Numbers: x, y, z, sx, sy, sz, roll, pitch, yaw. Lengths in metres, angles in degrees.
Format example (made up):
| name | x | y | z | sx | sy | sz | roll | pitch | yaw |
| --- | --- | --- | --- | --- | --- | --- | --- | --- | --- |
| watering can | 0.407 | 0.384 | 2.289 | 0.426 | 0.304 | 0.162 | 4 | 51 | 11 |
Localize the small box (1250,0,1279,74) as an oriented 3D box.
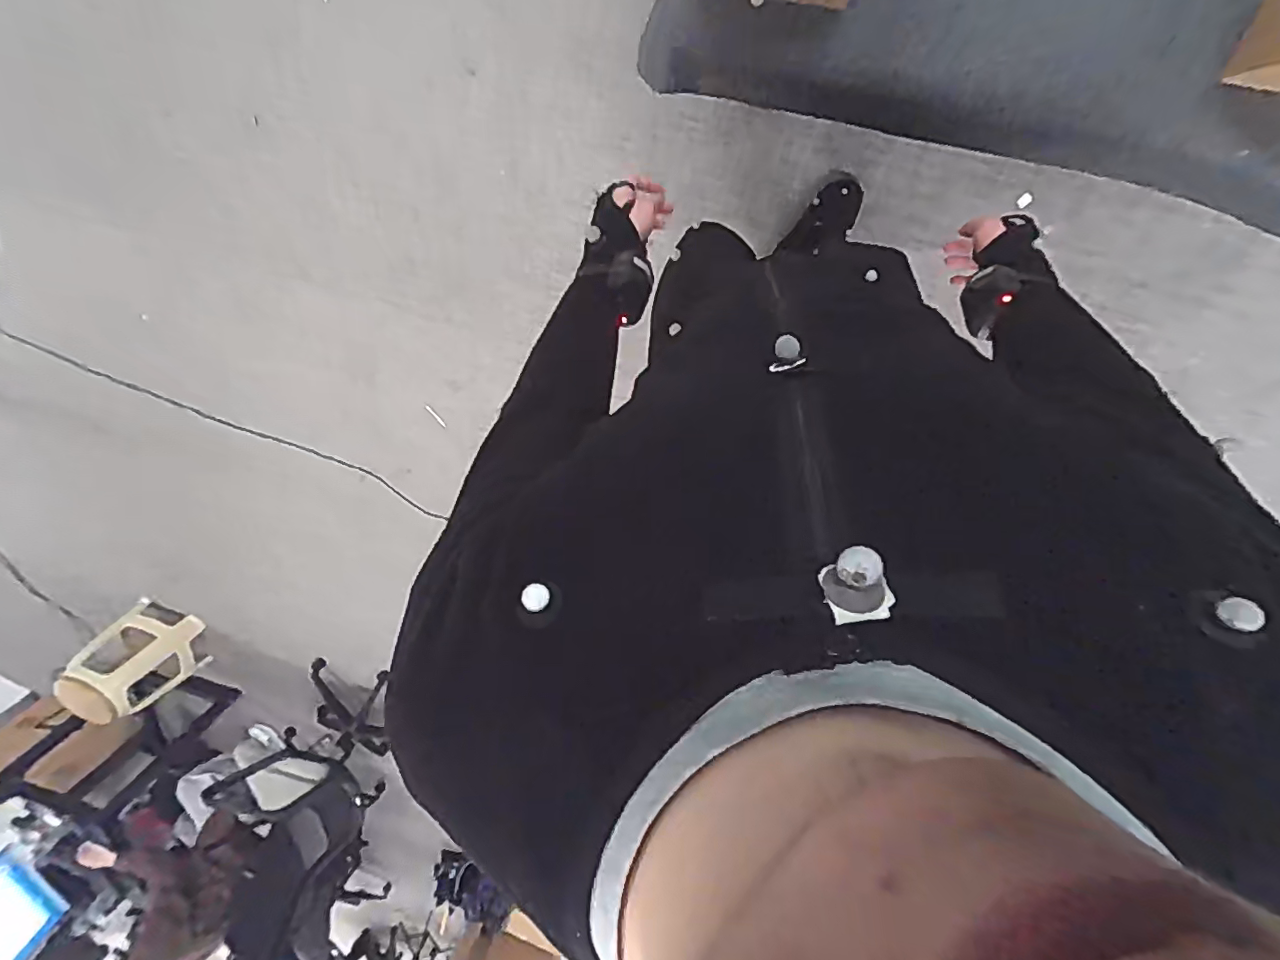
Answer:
| name | x | y | z | sx | sy | sz | roll | pitch | yaw |
| --- | --- | --- | --- | --- | --- | --- | --- | --- | --- |
| small box | 0.634 | -0.402 | 0.395 | 0.168 | 0.176 | 0.179 | 14 | 120 | 4 |
